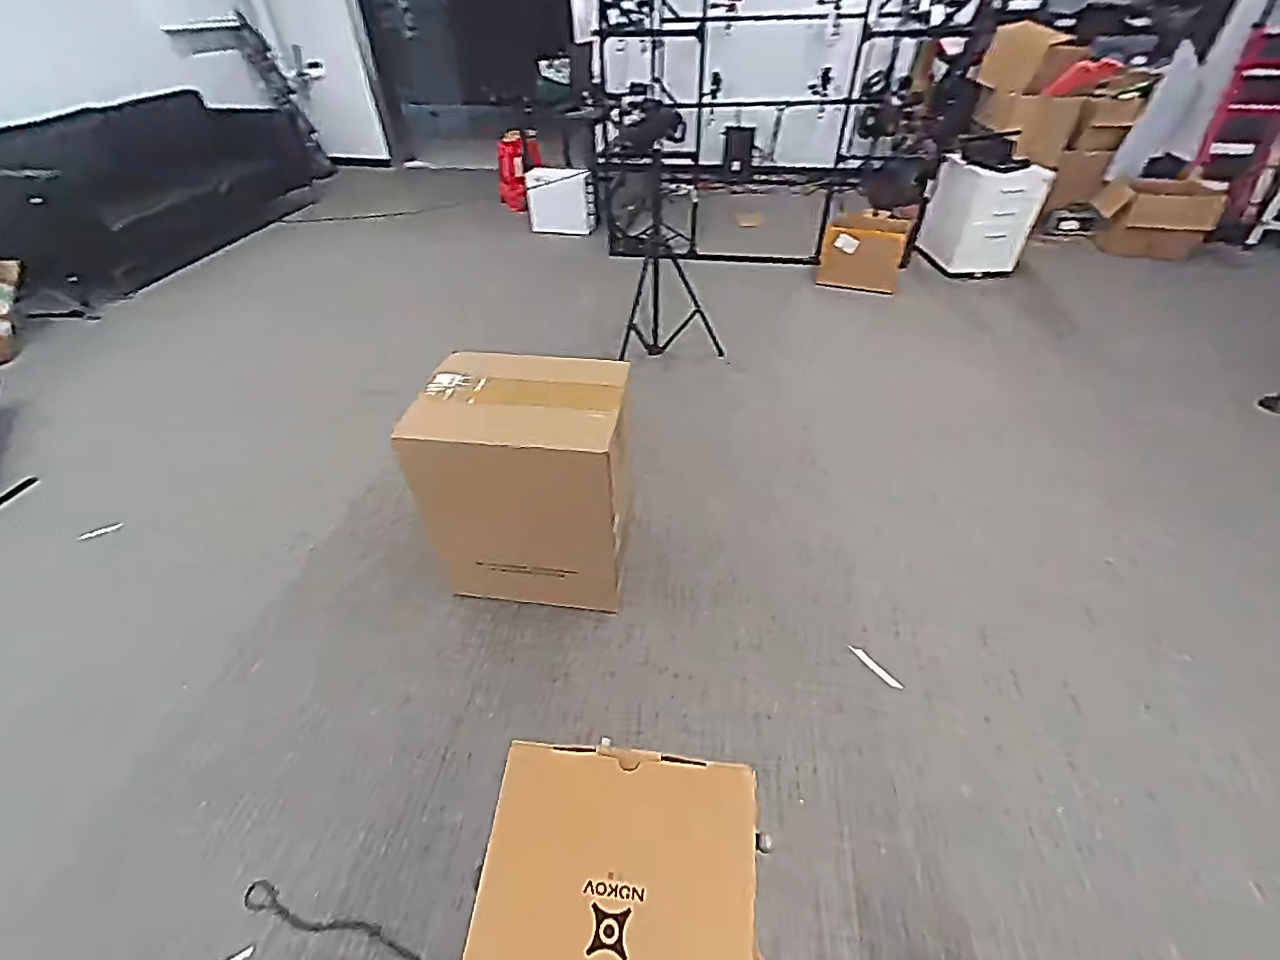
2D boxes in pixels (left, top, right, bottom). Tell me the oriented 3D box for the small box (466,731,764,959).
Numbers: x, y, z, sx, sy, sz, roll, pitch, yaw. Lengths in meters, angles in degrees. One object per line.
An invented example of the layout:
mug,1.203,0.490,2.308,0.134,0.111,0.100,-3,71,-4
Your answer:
small box,-0.004,0.289,0.371,0.168,0.176,0.179,1,54,7
